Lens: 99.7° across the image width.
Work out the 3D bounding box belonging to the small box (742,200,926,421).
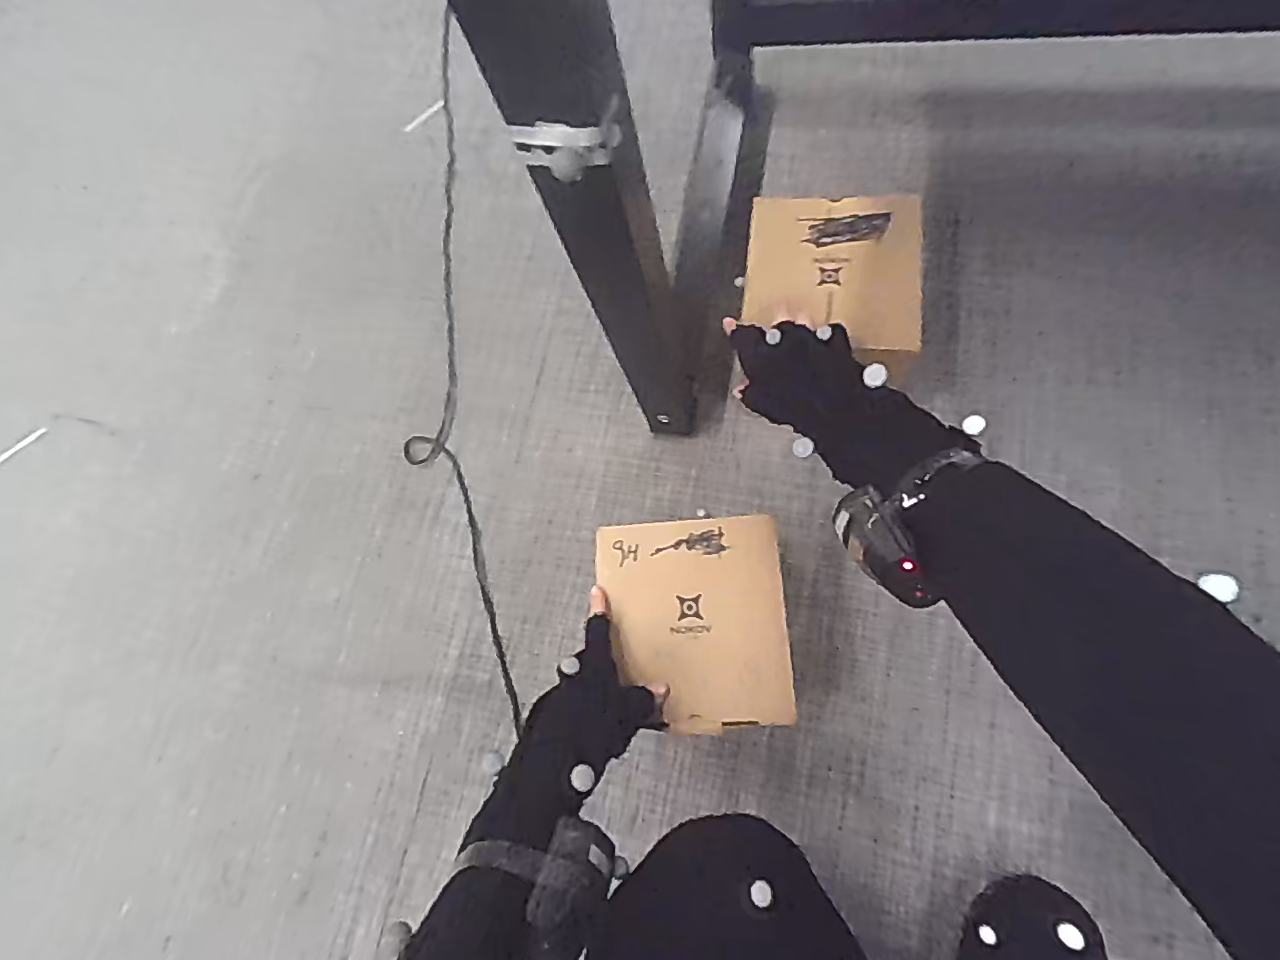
[{"bbox_3d":[0.207,-0.183,0.613,0.168,0.176,0.179,6,77,12],"label":"small box"}]
